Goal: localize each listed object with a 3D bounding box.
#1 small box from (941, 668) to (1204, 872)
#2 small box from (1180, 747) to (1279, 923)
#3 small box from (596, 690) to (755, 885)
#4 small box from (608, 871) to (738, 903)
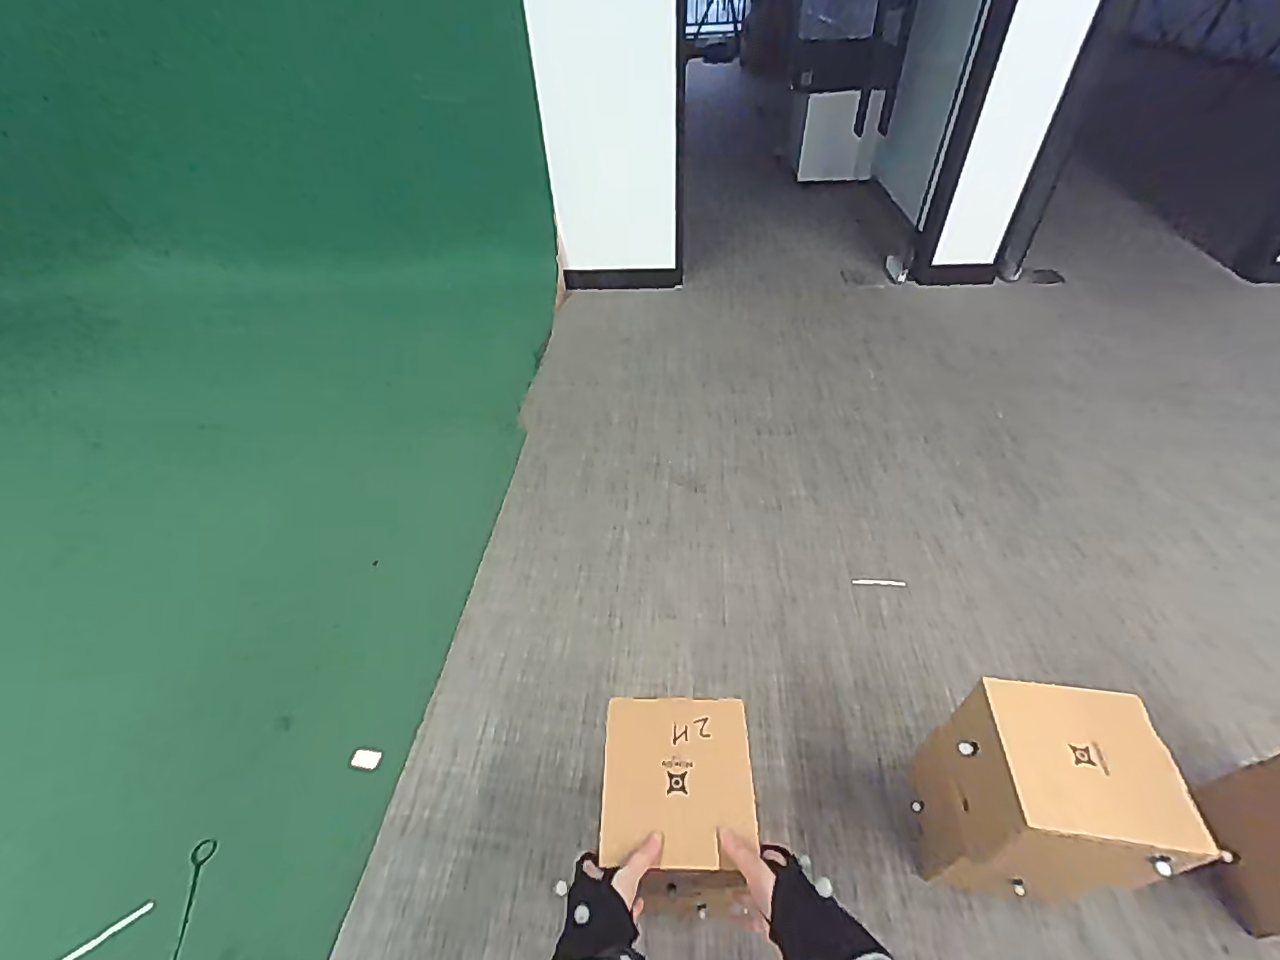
[{"bbox_3d":[0.491,0.352,0.657,0.179,0.176,0.168,4,45,8],"label":"small box"},{"bbox_3d":[0.903,0.485,0.724,0.168,0.176,0.179,3,45,7],"label":"small box"},{"bbox_3d":[0.041,0.377,0.661,0.168,0.176,0.179,1,45,1],"label":"small box"},{"bbox_3d":[0.049,0.490,0.782,0.168,0.176,0.179,0,44,3],"label":"small box"}]
